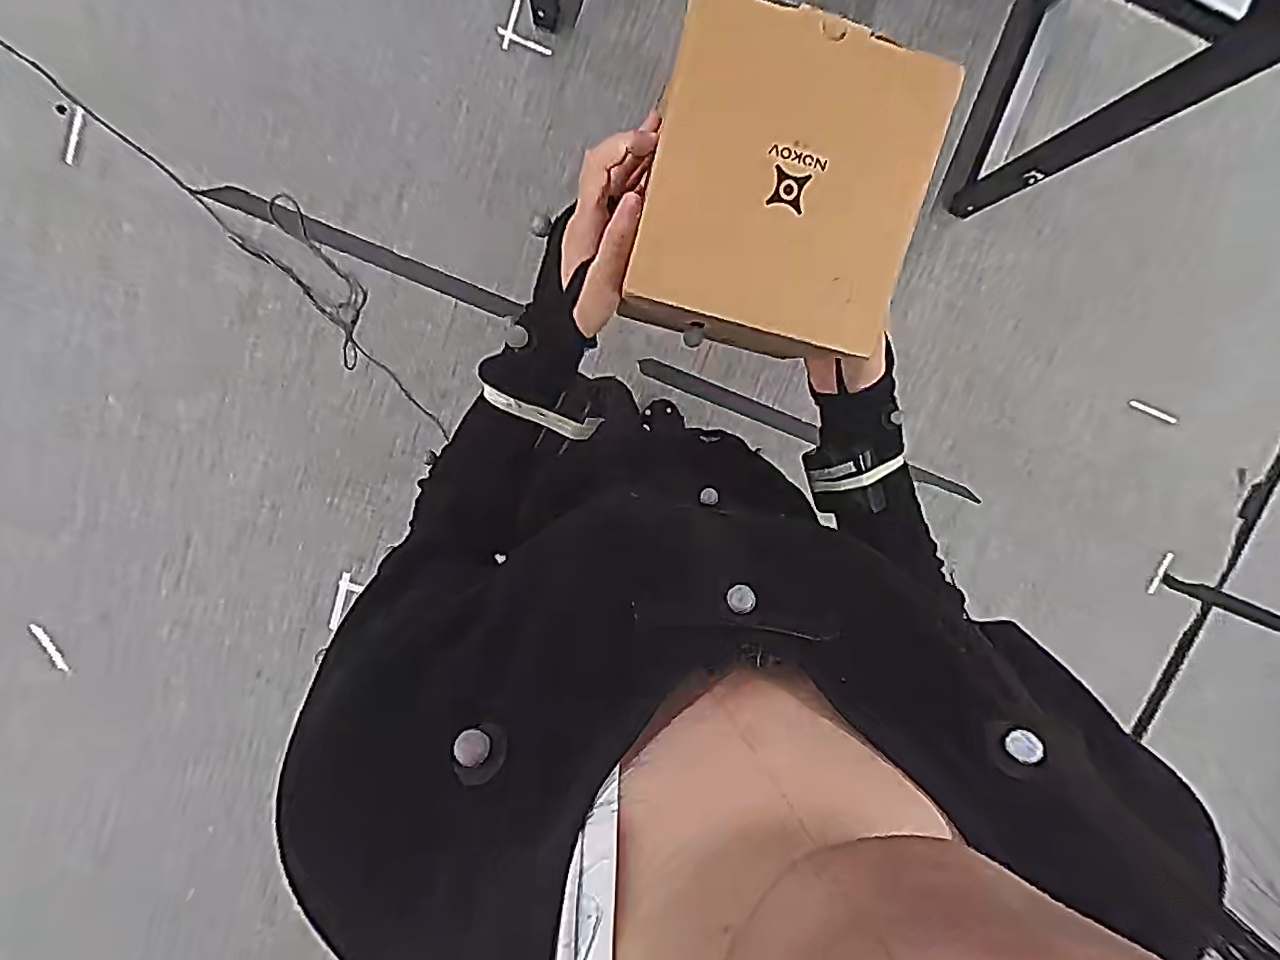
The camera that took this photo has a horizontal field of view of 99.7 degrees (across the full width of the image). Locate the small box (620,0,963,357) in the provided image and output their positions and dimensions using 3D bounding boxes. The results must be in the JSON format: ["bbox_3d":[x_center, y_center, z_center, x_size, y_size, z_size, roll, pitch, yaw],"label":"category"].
[{"bbox_3d":[0.084,-0.194,0.397,0.168,0.176,0.179,13,100,-7],"label":"small box"}]

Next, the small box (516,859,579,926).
[{"bbox_3d":[-0.278,1.274,1.615,0.179,0.176,0.168,8,99,-6],"label":"small box"}]

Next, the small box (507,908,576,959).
[{"bbox_3d":[-0.271,1.301,1.454,0.179,0.176,0.168,9,98,-4],"label":"small box"}]
